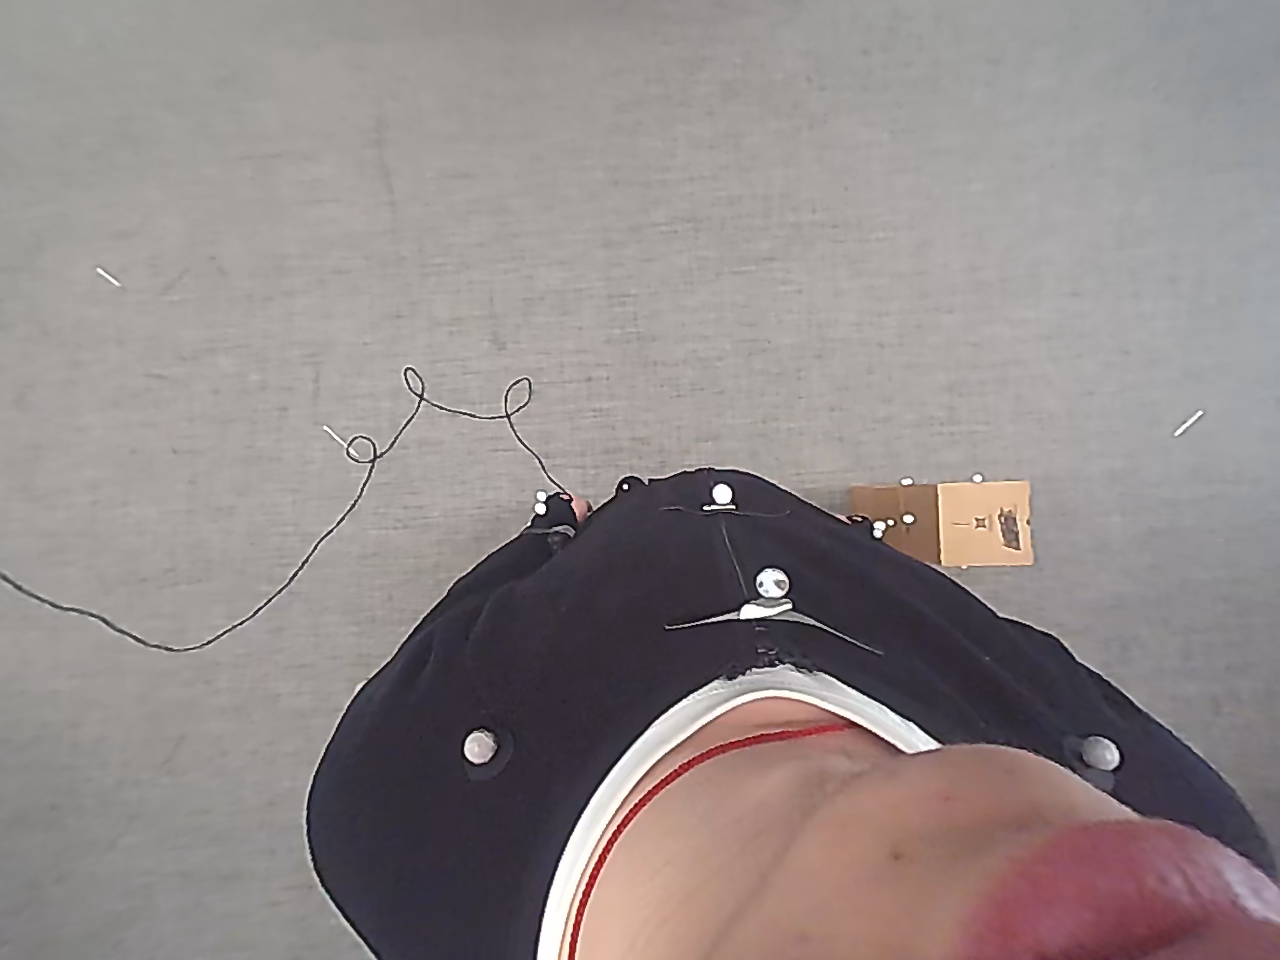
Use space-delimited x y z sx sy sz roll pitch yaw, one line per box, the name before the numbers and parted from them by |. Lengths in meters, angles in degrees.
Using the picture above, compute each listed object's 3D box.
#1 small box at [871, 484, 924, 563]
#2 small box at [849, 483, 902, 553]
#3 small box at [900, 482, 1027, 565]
small box | 0.673 0.098 1.307 0.168 0.176 0.179 -3 92 3
small box | 0.680 0.099 1.468 0.168 0.176 0.179 -2 90 2
small box | 0.673 0.087 1.141 0.179 0.176 0.168 -1 89 3
